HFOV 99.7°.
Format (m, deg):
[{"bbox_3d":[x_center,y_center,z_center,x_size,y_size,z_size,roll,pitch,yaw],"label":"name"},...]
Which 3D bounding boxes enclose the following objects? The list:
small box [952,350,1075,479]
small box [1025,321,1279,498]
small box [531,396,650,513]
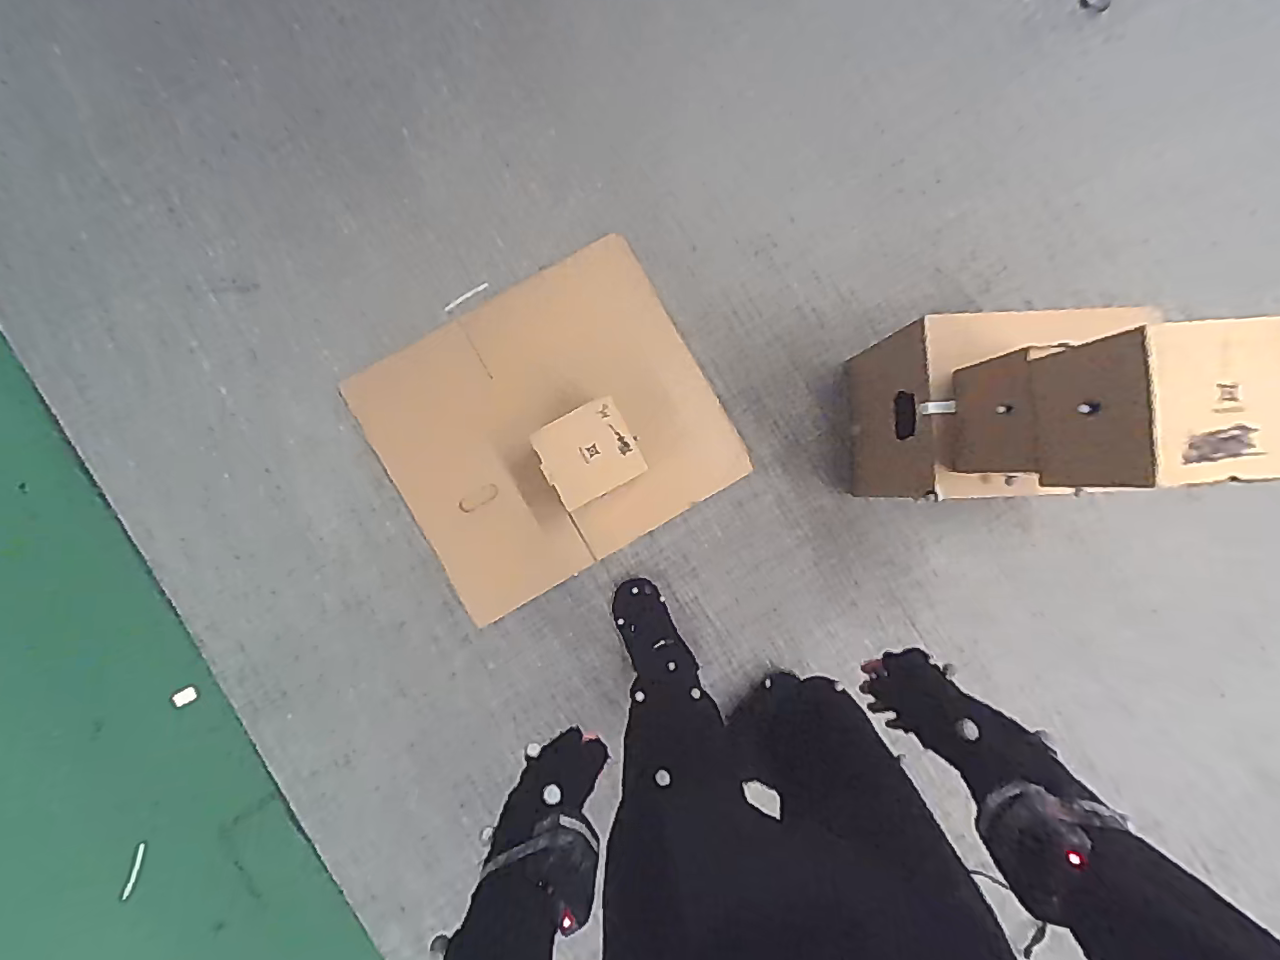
[{"bbox_3d":[0.602,-0.091,0.820,0.168,0.176,0.179,0,91,-1],"label":"small box"},{"bbox_3d":[0.609,-0.077,0.655,0.168,0.176,0.179,-7,91,-1],"label":"small box"},{"bbox_3d":[-0.090,-0.043,1.097,0.179,0.176,0.168,-31,87,0],"label":"small box"}]
